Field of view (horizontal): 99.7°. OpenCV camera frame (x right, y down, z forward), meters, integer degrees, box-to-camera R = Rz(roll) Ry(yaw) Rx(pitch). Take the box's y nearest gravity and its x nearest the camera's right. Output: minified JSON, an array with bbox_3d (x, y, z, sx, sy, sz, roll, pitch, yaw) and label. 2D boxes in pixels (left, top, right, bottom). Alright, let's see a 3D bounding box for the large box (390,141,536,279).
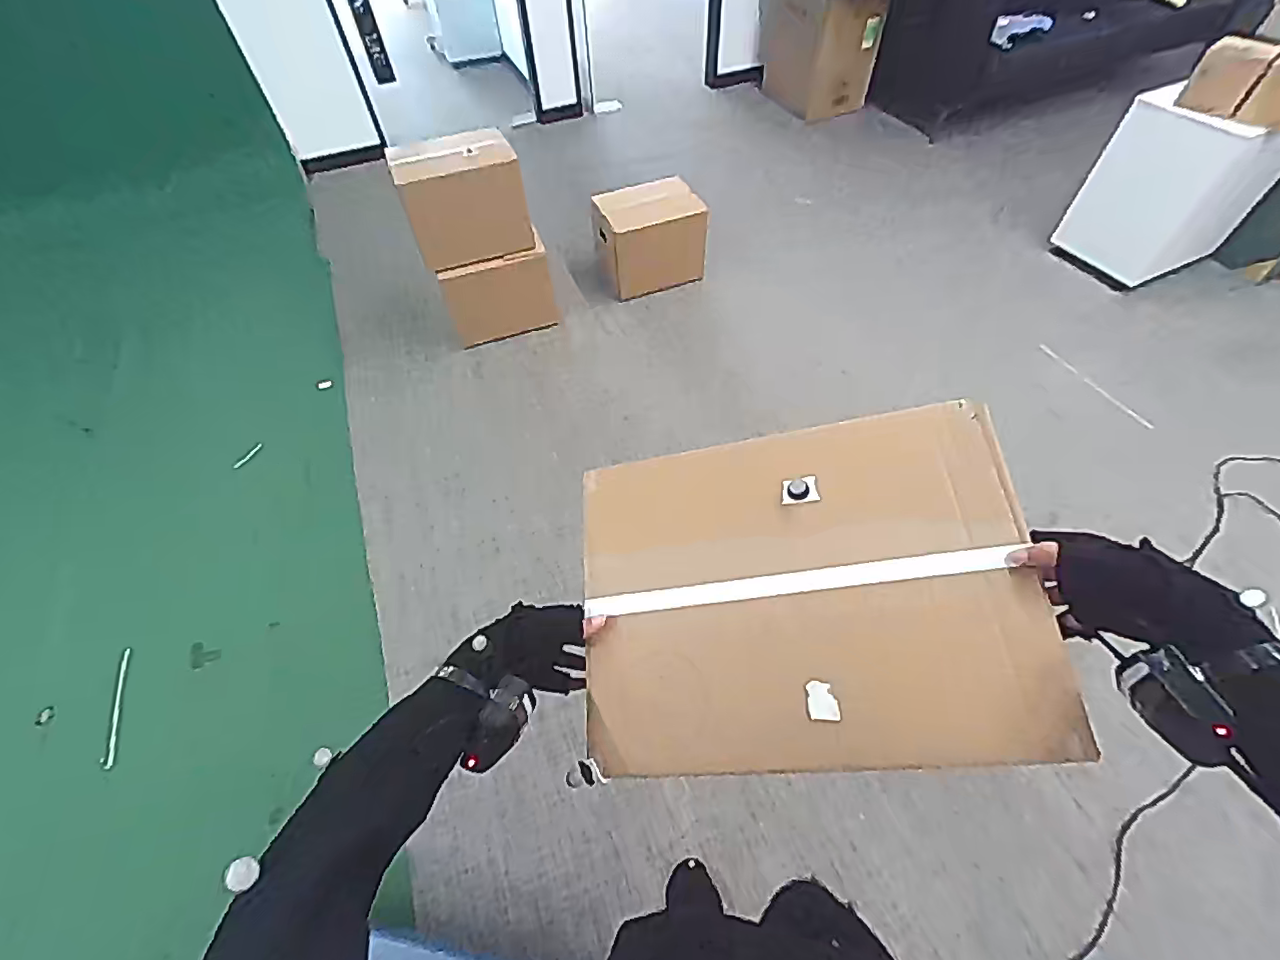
[{"bbox_3d":[-0.631,-0.974,1.951,0.408,0.320,0.320,-19,52,-12],"label":"large box"}]
